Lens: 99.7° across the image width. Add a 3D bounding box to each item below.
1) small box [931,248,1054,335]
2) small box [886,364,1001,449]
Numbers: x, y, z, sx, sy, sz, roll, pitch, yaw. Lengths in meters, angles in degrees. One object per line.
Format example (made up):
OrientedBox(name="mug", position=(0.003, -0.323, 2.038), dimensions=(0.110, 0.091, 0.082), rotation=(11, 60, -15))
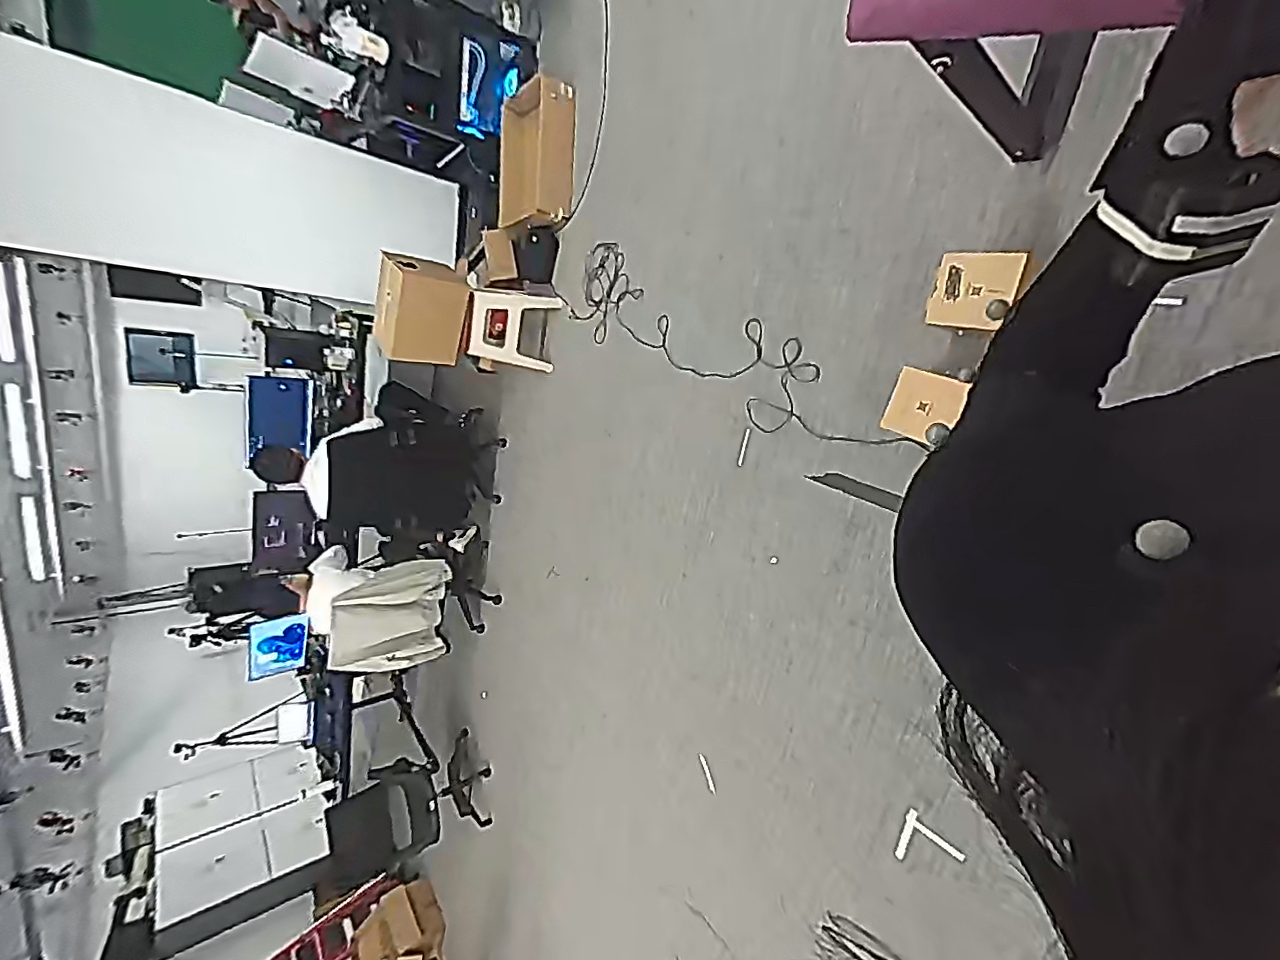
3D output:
OrientedBox(name="small box", position=(0.826, -0.440, 1.268), dimensions=(0.179, 0.176, 0.168), rotation=(25, 112, 46))
OrientedBox(name="small box", position=(0.767, -0.184, 1.362), dimensions=(0.179, 0.176, 0.168), rotation=(34, 117, 44))
